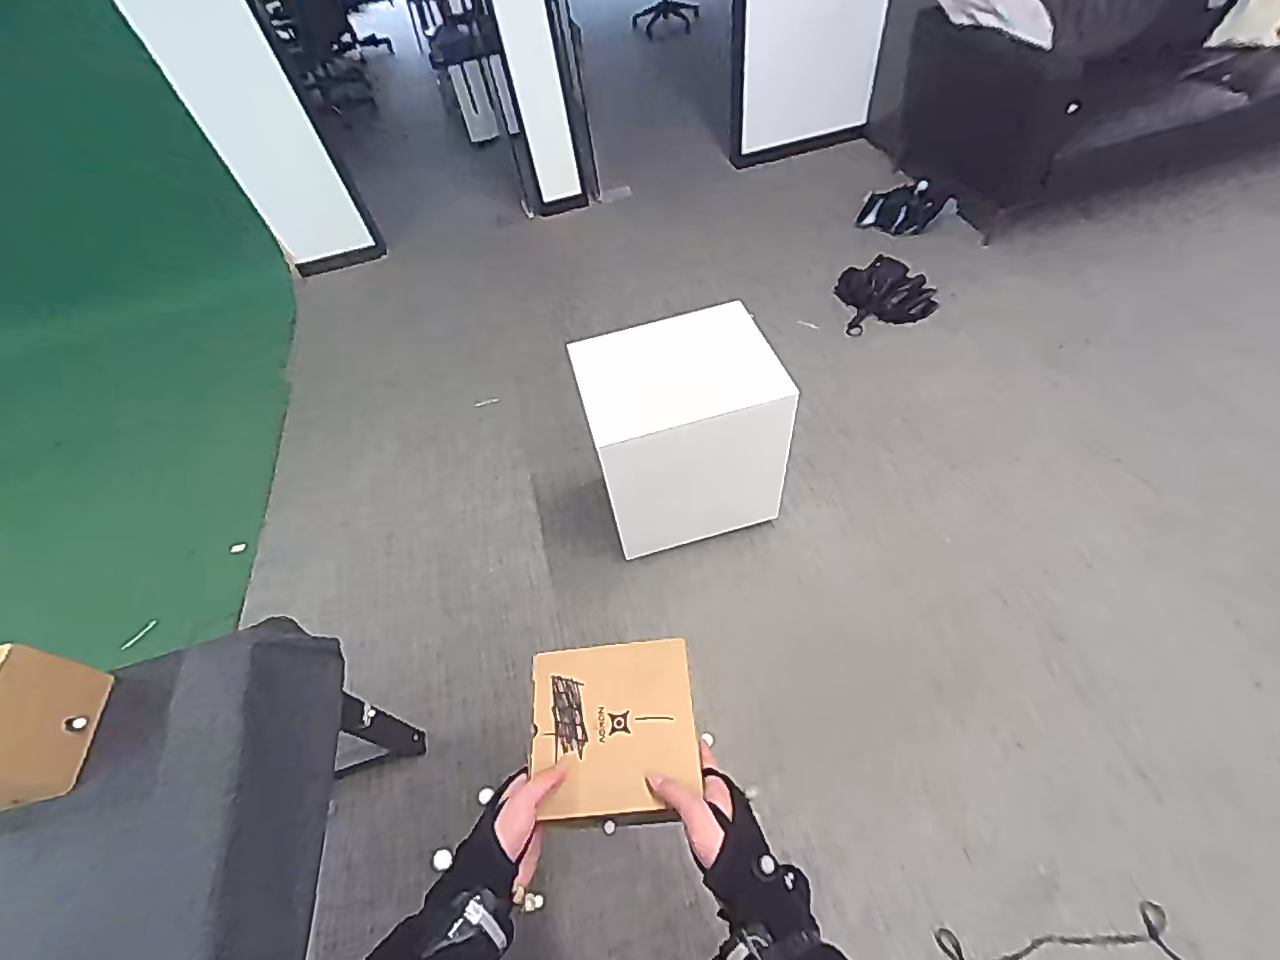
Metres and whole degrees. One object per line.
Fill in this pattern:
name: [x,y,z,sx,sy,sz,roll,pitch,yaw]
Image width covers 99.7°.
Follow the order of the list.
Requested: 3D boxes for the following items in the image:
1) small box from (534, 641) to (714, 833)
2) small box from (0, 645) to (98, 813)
small box: [-0.012,0.299,0.620,0.179,0.176,0.168,-6,54,2]
small box: [-0.934,0.359,0.757,0.168,0.176,0.179,-13,53,-3]
